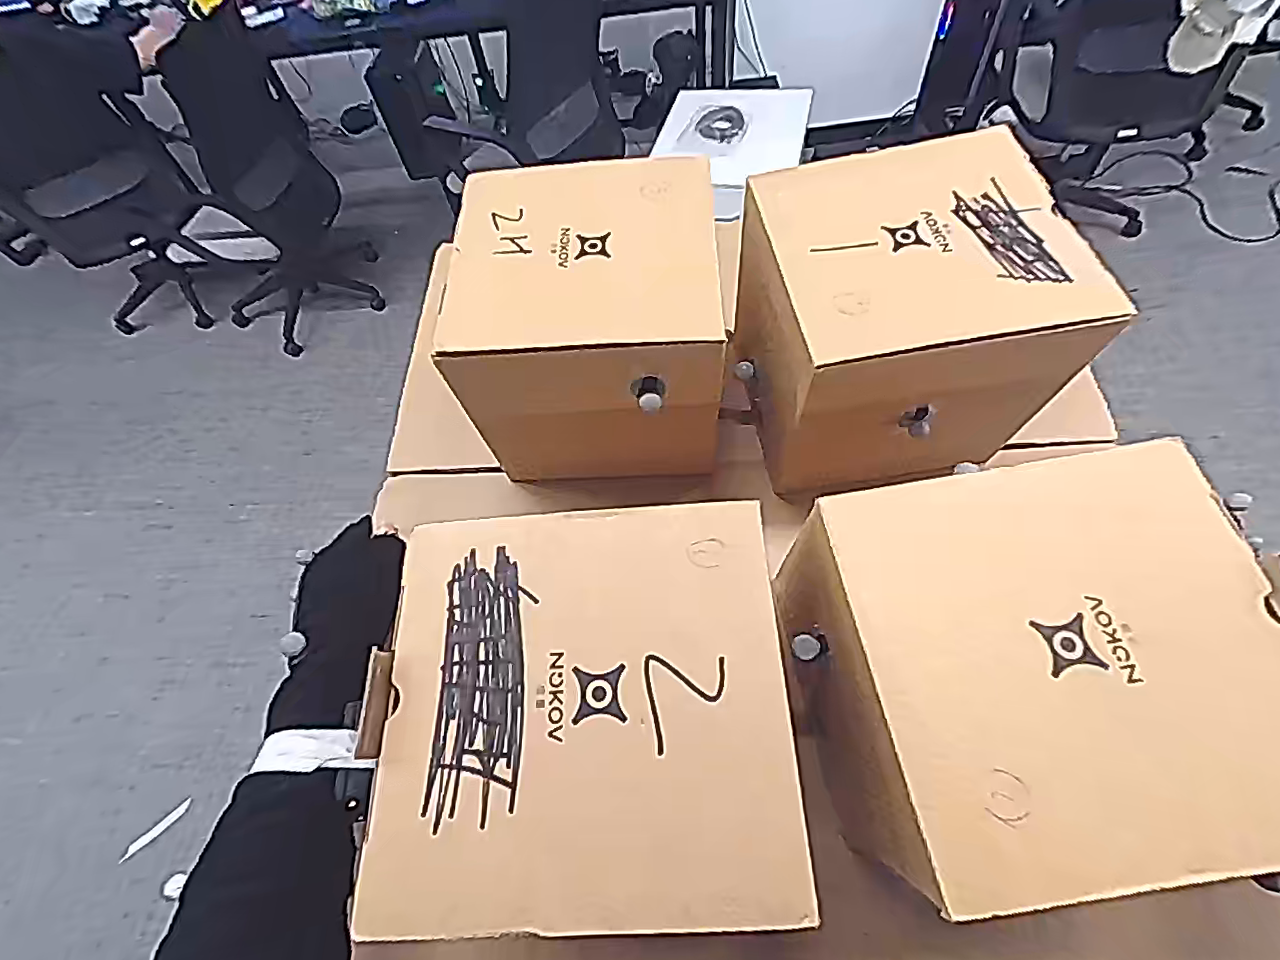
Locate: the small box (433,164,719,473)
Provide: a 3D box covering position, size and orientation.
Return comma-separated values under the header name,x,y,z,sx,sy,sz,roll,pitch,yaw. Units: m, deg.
name,x,y,z,sx,sy,sz,roll,pitch,yaw
small box,-0.033,-0.114,0.429,0.179,0.176,0.168,-2,63,5
